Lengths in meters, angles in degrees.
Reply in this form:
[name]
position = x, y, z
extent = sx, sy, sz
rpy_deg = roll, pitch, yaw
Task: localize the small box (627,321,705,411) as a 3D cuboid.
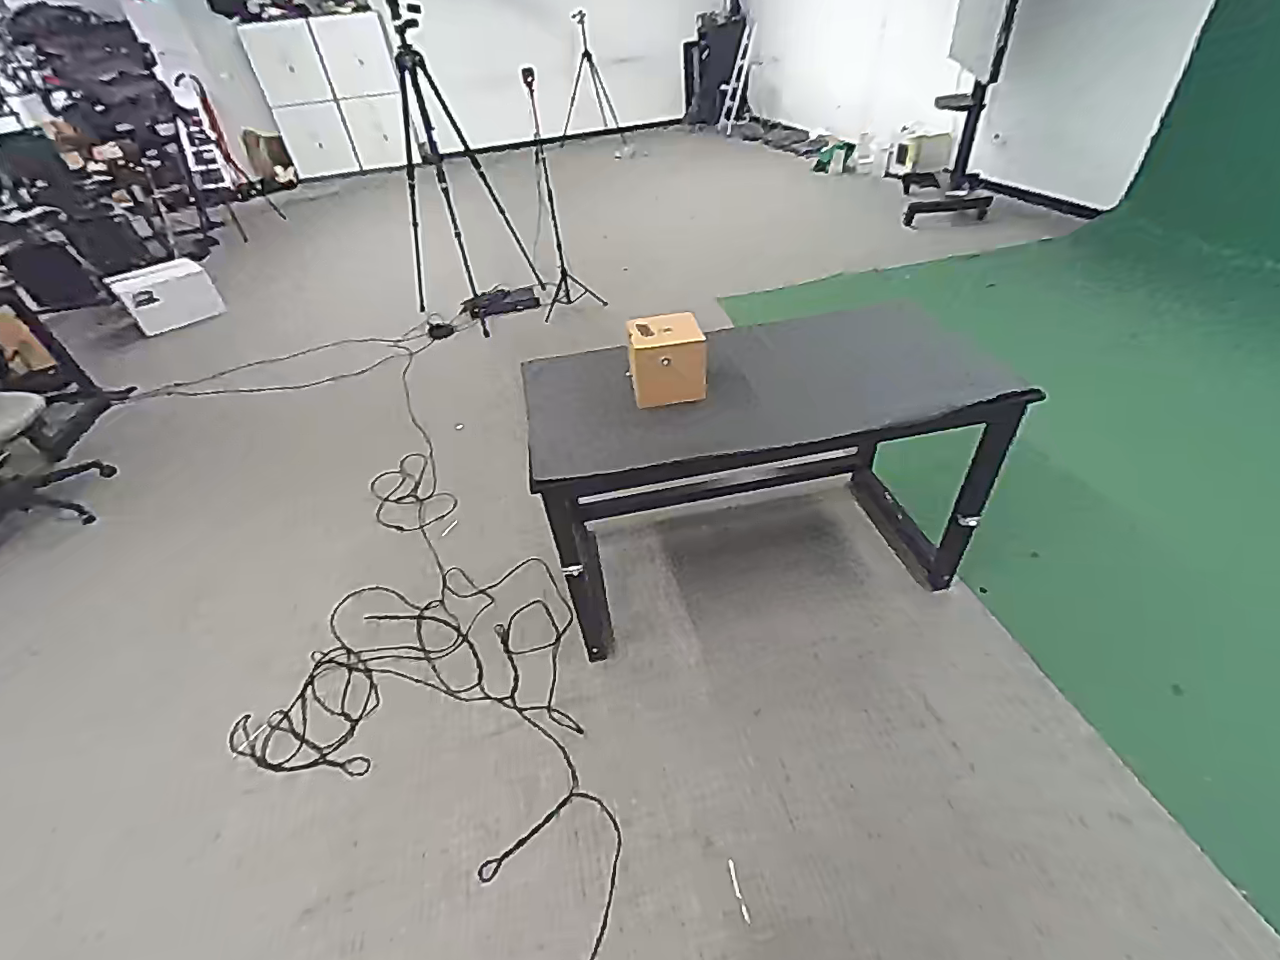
[small box]
position = 0.067, -0.292, 1.400
extent = 0.179, 0.176, 0.168
rpy_deg = -8, 40, -4
